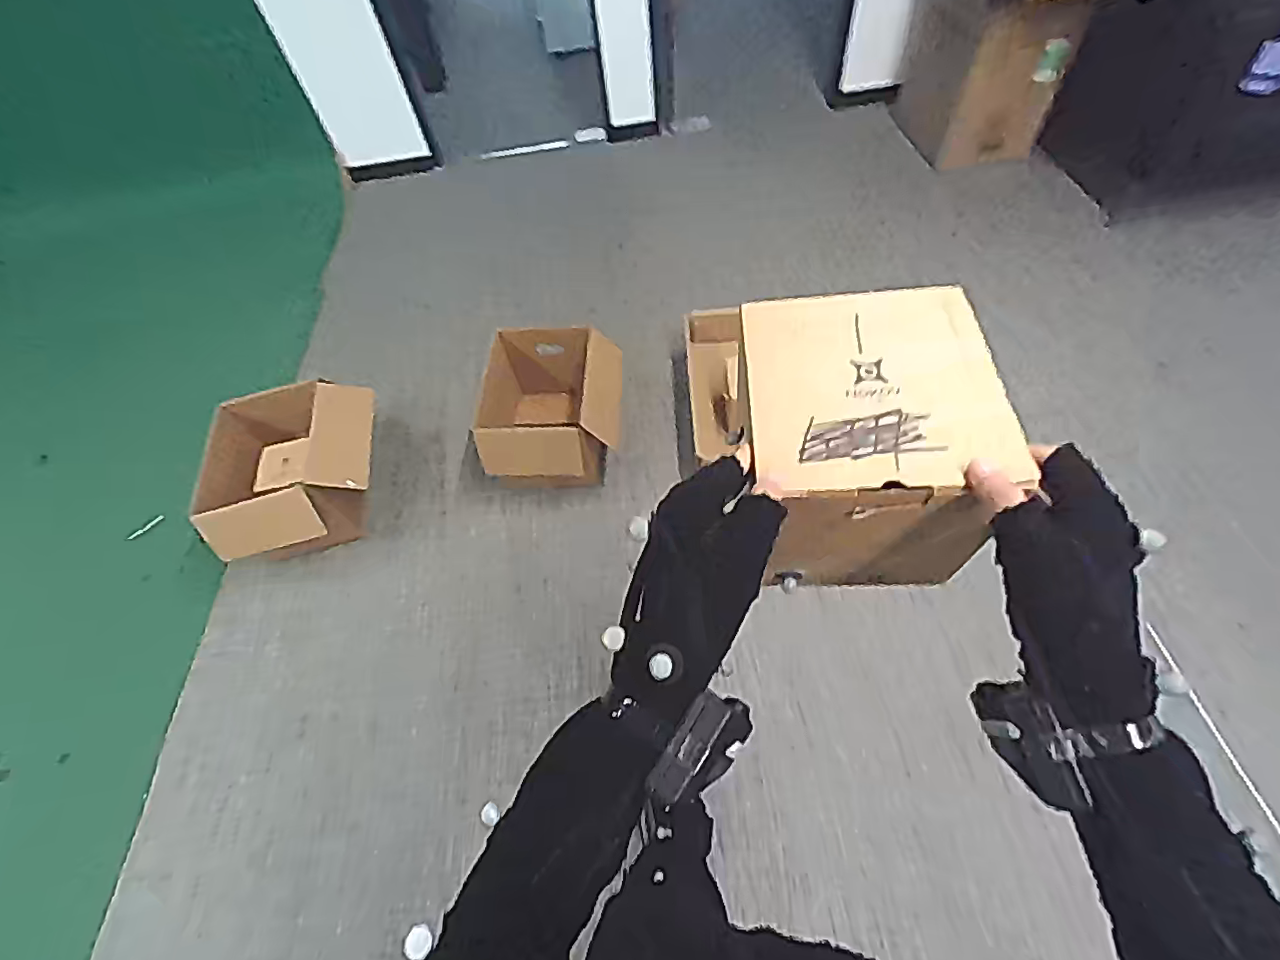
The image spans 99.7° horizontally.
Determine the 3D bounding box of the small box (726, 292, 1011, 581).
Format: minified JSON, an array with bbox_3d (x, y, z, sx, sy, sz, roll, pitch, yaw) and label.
[{"bbox_3d":[0.159,-0.023,0.446,0.168,0.176,0.179,-3,57,7],"label":"small box"}]
